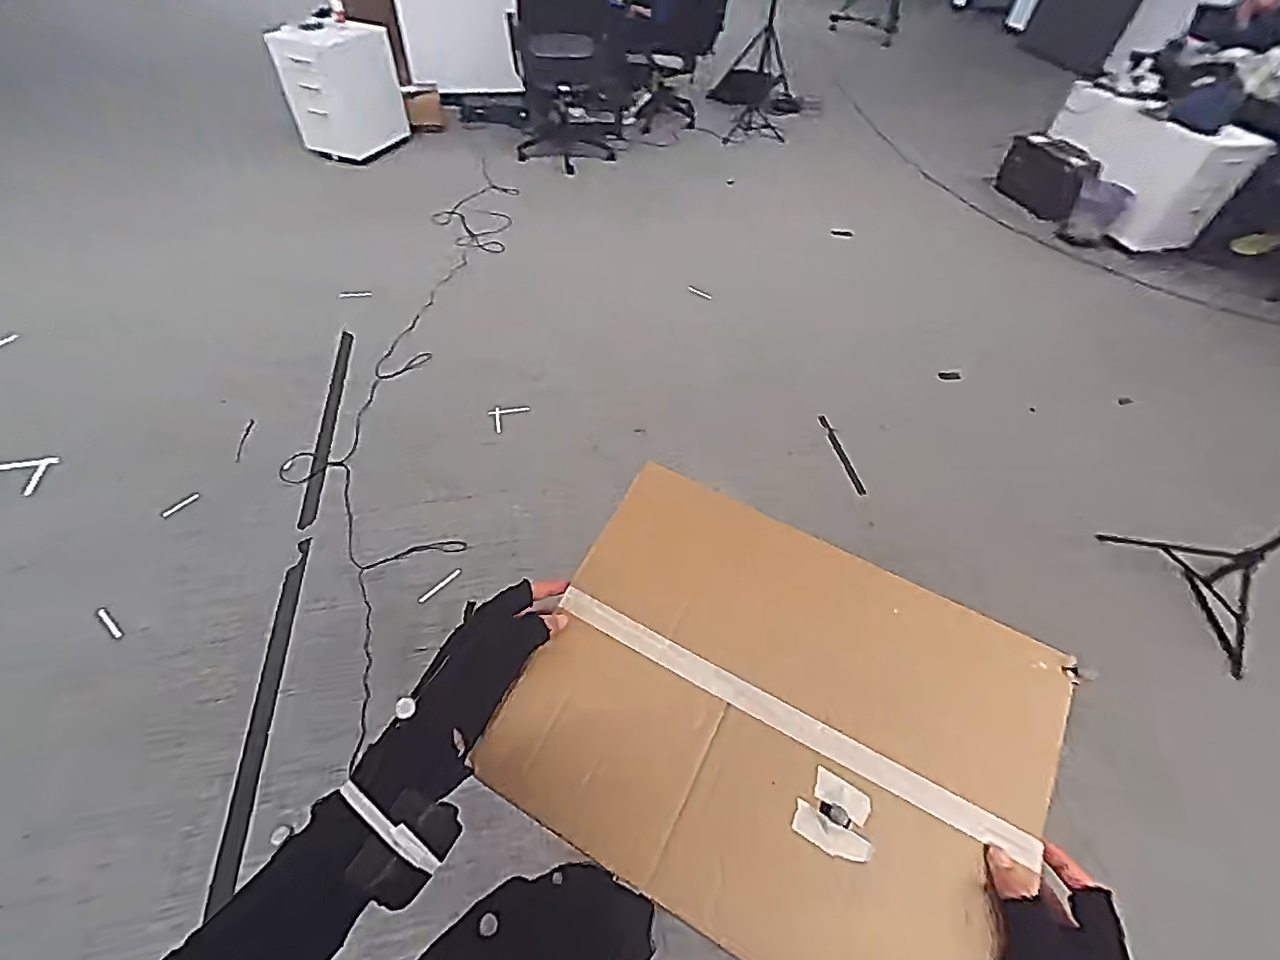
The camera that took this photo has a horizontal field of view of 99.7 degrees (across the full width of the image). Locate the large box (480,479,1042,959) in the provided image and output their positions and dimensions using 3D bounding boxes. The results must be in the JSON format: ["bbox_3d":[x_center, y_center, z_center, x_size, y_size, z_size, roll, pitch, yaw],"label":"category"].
[{"bbox_3d":[0.112,0.262,0.593,0.408,0.320,0.320,25,68,13],"label":"large box"}]
